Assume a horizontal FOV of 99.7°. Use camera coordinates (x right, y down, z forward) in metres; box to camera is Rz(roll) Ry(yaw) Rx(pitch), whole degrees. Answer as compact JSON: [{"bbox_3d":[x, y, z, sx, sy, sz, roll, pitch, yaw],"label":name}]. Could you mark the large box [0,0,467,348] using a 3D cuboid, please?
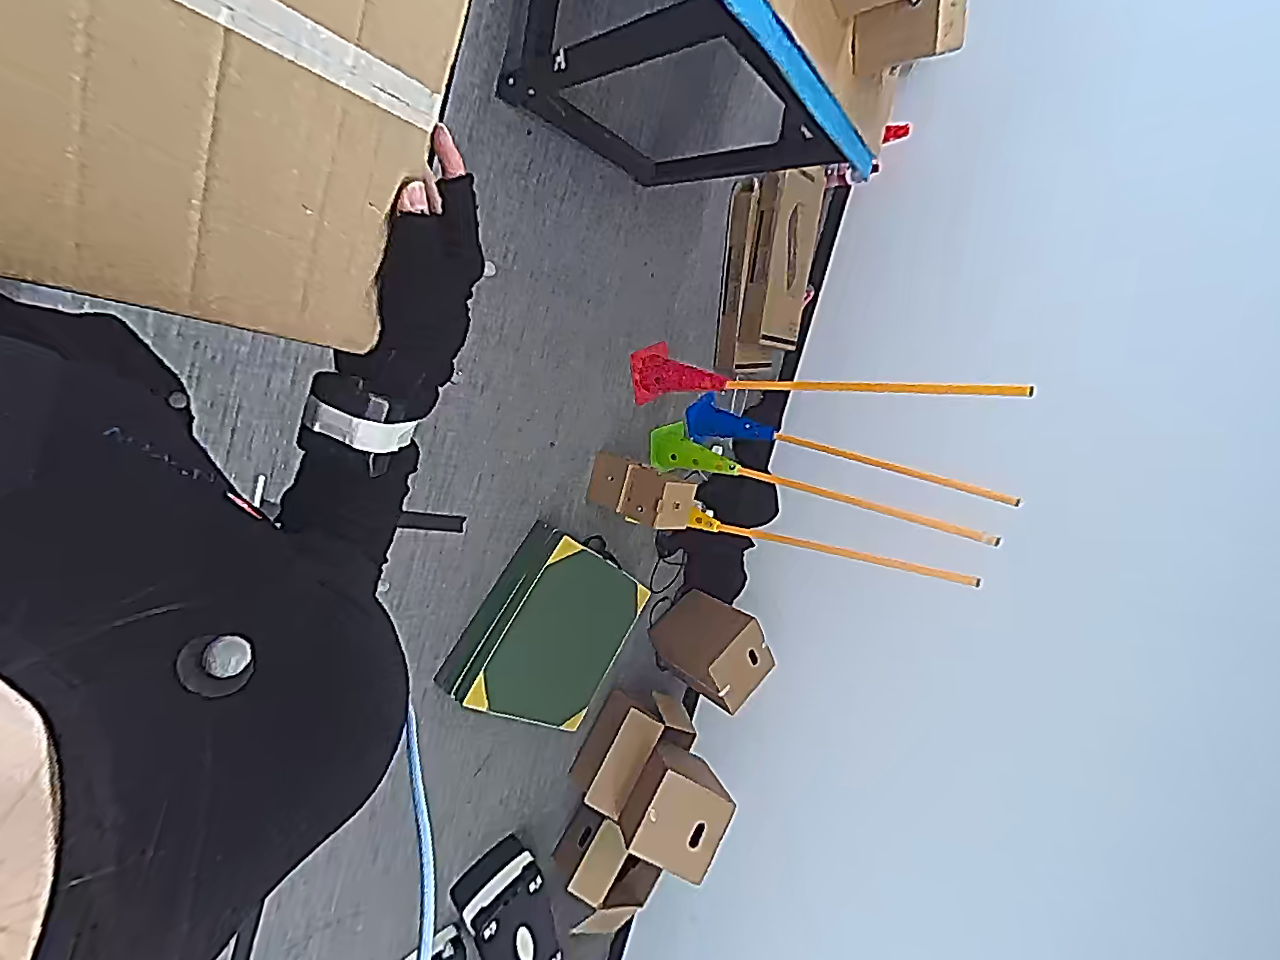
[{"bbox_3d":[-0.355,-0.312,0.294,0.408,0.320,0.320,6,119,-44],"label":"large box"}]
